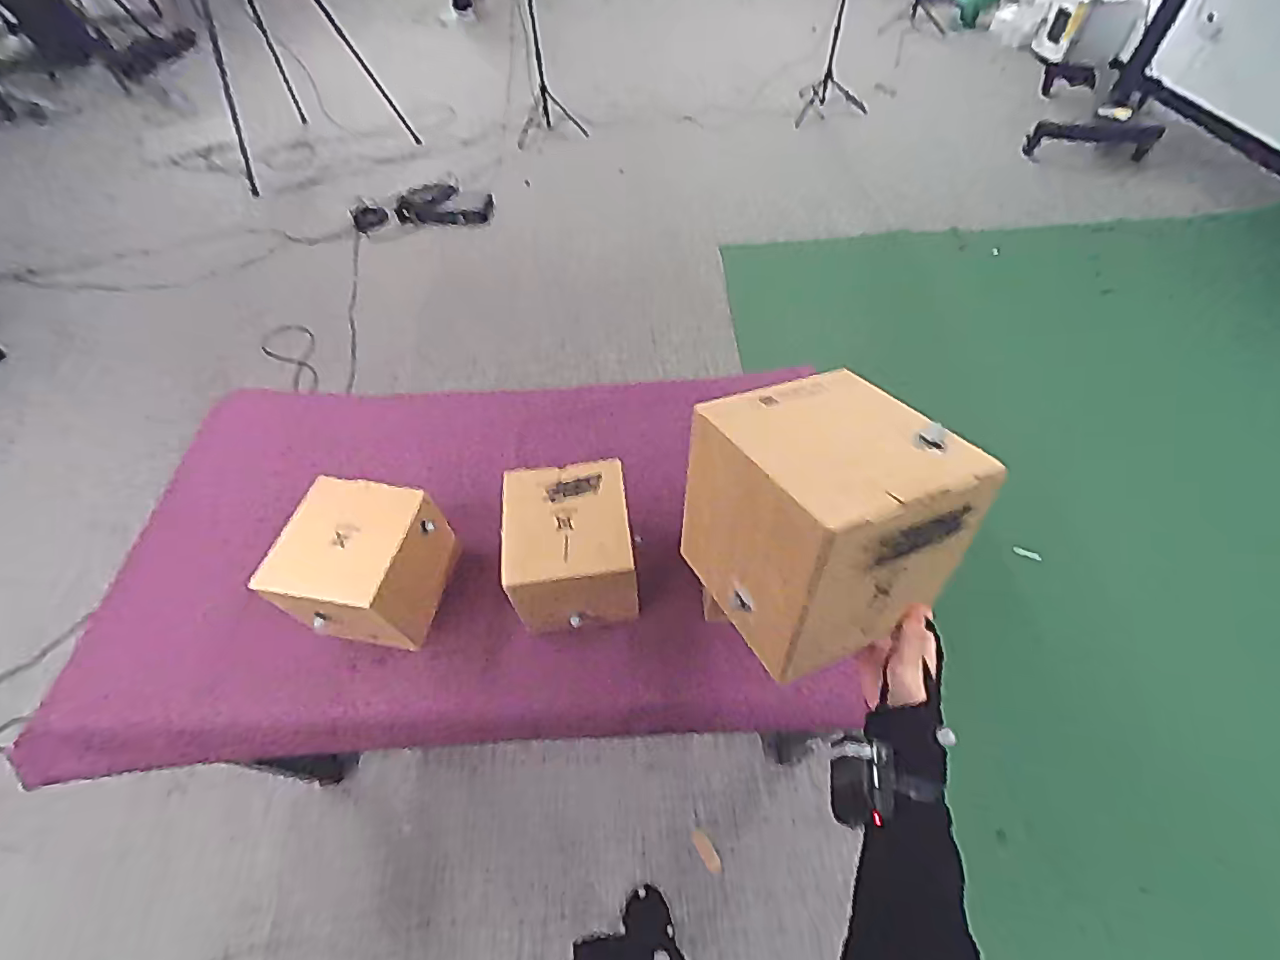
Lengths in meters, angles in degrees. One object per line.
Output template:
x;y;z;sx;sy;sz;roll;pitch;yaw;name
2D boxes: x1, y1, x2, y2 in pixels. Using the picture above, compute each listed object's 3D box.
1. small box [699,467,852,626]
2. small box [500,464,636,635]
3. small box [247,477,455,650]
0.174;0.097;0.763;0.179;0.176;0.168;0;53;1;small box
-0.096;0.101;0.770;0.168;0.176;0.179;-6;54;-3;small box
-0.386;0.122;0.765;0.168;0.176;0.179;7;53;8;small box
